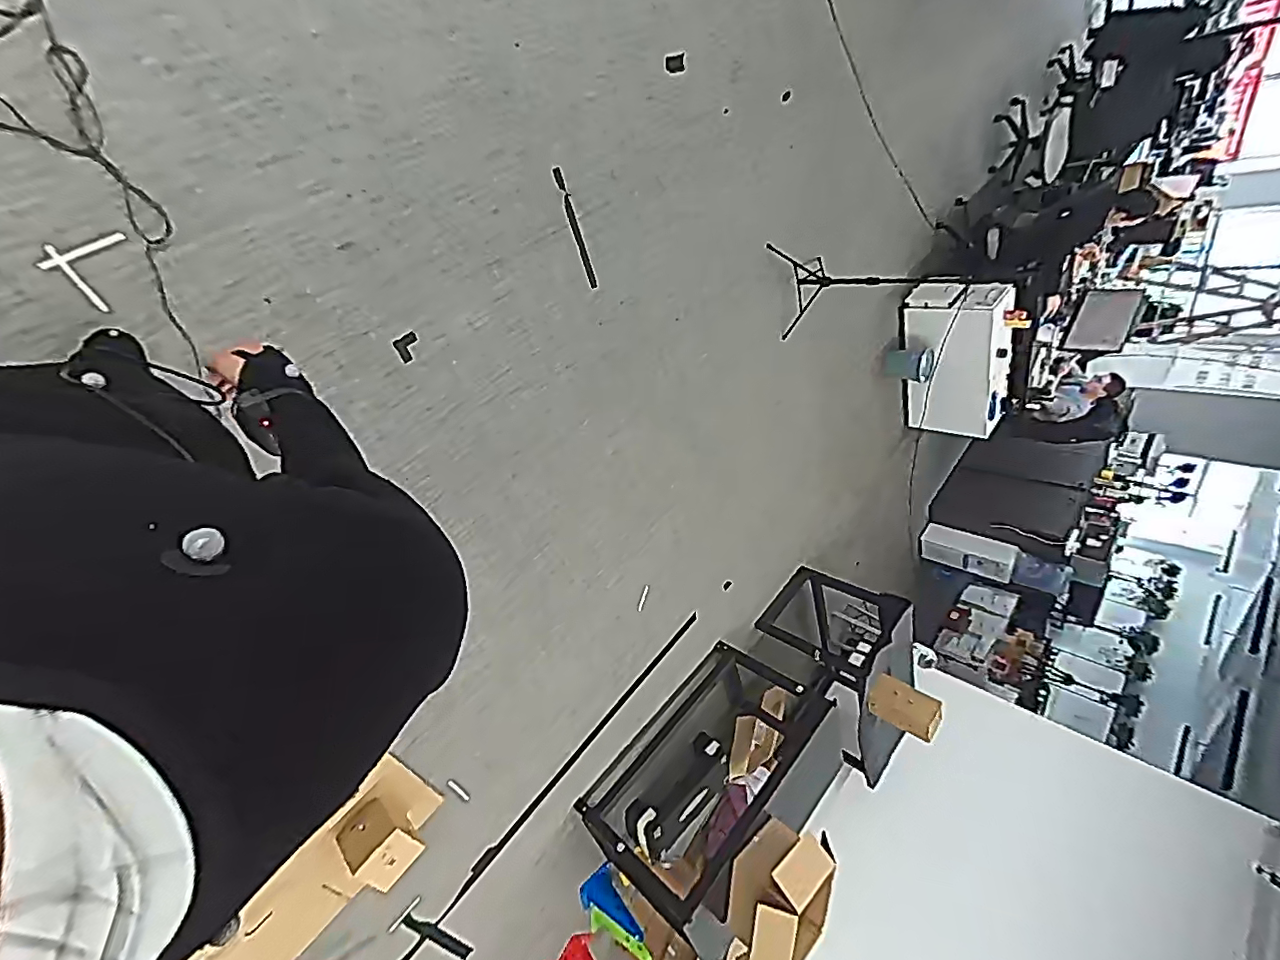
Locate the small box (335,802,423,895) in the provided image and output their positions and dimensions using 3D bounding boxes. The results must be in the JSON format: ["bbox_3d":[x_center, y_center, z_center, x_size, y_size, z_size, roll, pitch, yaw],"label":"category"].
[{"bbox_3d":[-0.865,1.213,1.790,0.168,0.176,0.179,-45,130,-27],"label":"small box"}]
